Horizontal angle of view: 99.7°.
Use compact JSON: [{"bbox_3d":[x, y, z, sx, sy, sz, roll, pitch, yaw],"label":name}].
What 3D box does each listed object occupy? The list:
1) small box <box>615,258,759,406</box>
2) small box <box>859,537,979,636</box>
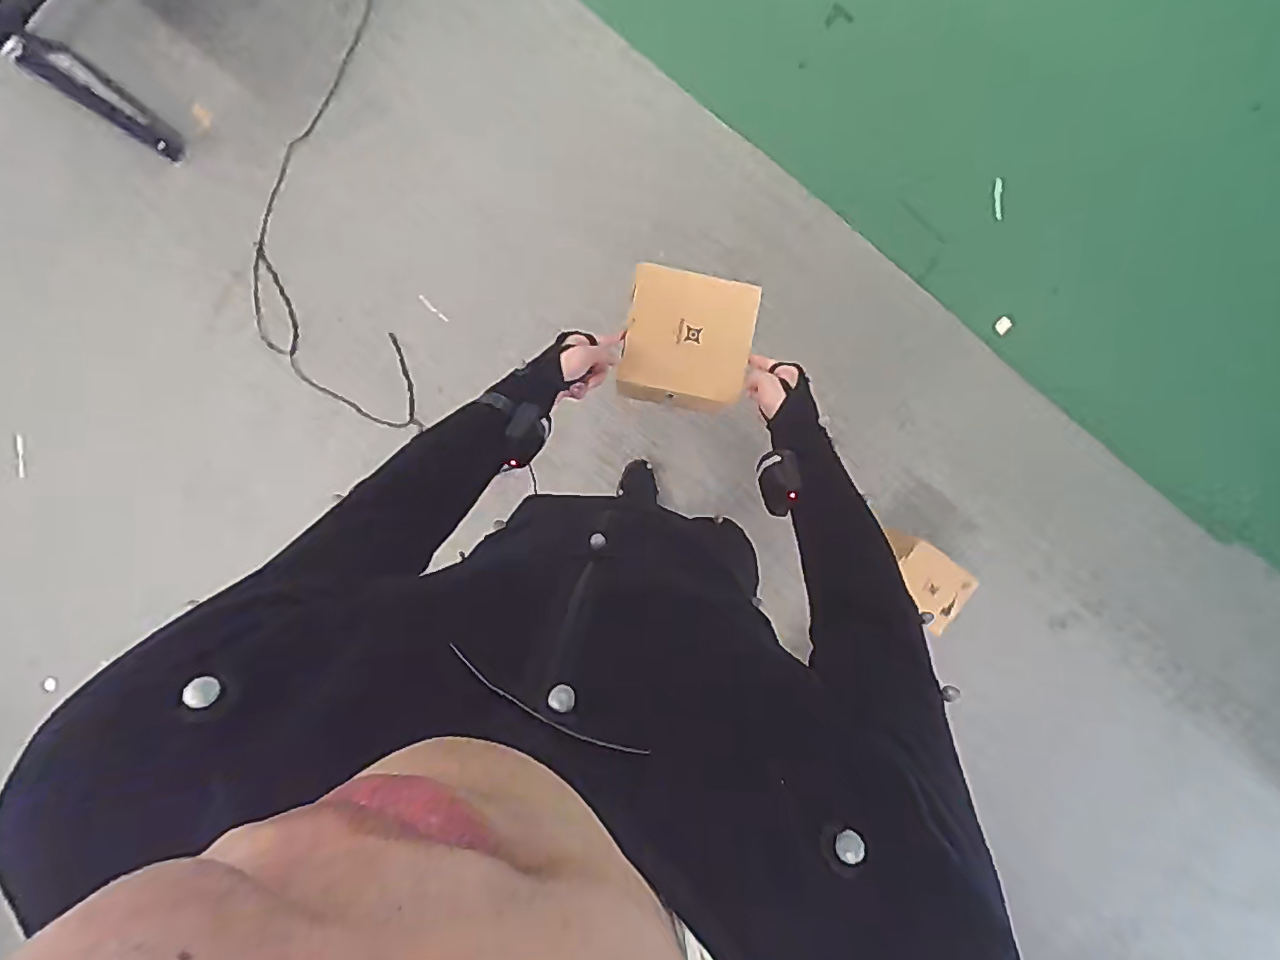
[{"bbox_3d":[0.060,-0.208,0.812,0.179,0.176,0.168,9,91,-3],"label":"small box"},{"bbox_3d":[0.689,0.257,1.359,0.179,0.176,0.168,37,92,2],"label":"small box"}]
